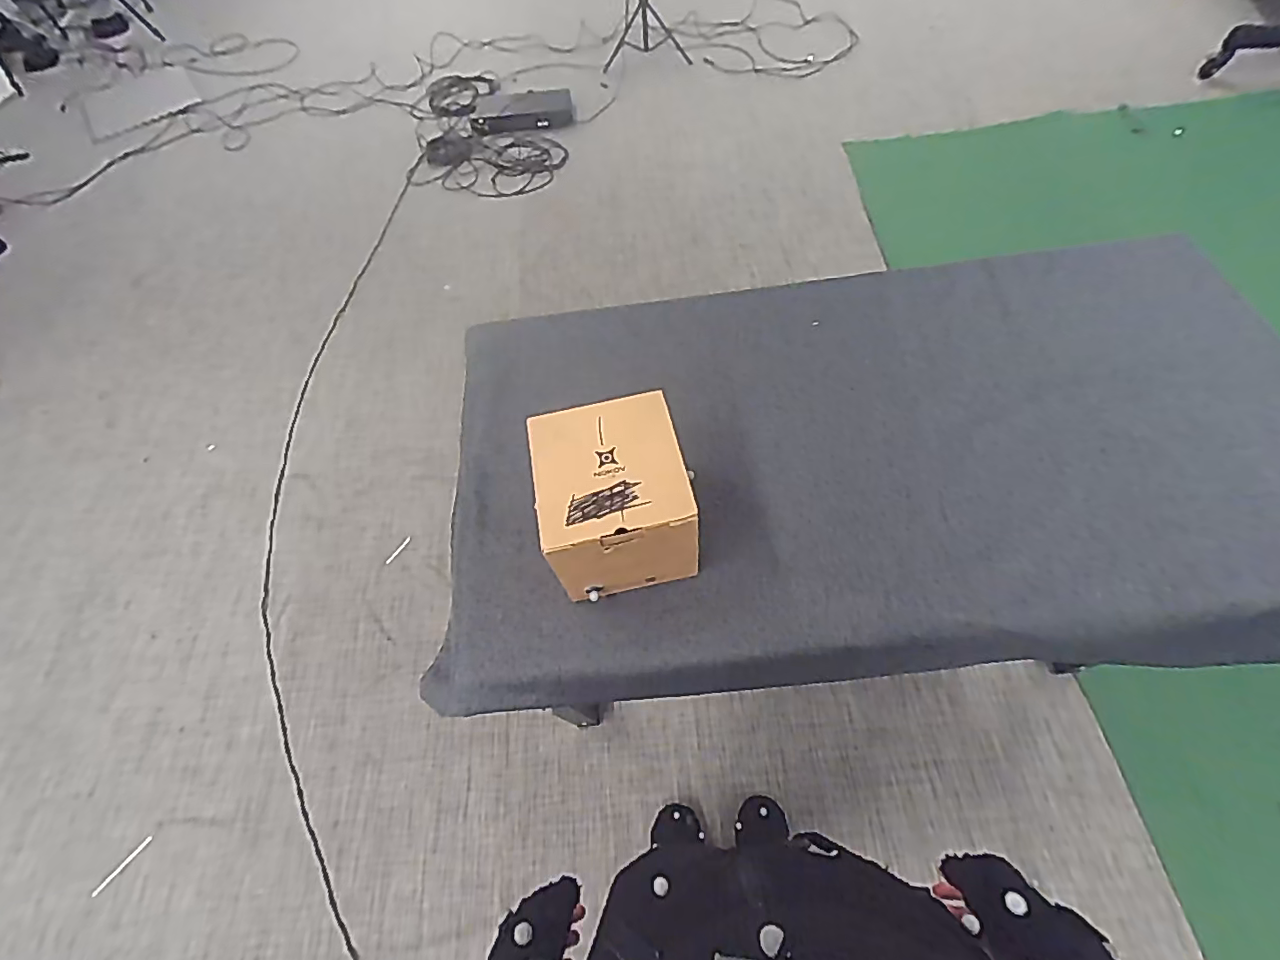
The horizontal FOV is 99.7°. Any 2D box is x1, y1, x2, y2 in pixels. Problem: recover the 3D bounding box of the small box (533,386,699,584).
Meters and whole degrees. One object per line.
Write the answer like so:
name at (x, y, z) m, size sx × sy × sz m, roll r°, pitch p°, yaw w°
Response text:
small box at (-0.024, 0.017, 0.668) m, size 0.168 × 0.176 × 0.179 m, roll -12°, pitch 59°, yaw -1°
